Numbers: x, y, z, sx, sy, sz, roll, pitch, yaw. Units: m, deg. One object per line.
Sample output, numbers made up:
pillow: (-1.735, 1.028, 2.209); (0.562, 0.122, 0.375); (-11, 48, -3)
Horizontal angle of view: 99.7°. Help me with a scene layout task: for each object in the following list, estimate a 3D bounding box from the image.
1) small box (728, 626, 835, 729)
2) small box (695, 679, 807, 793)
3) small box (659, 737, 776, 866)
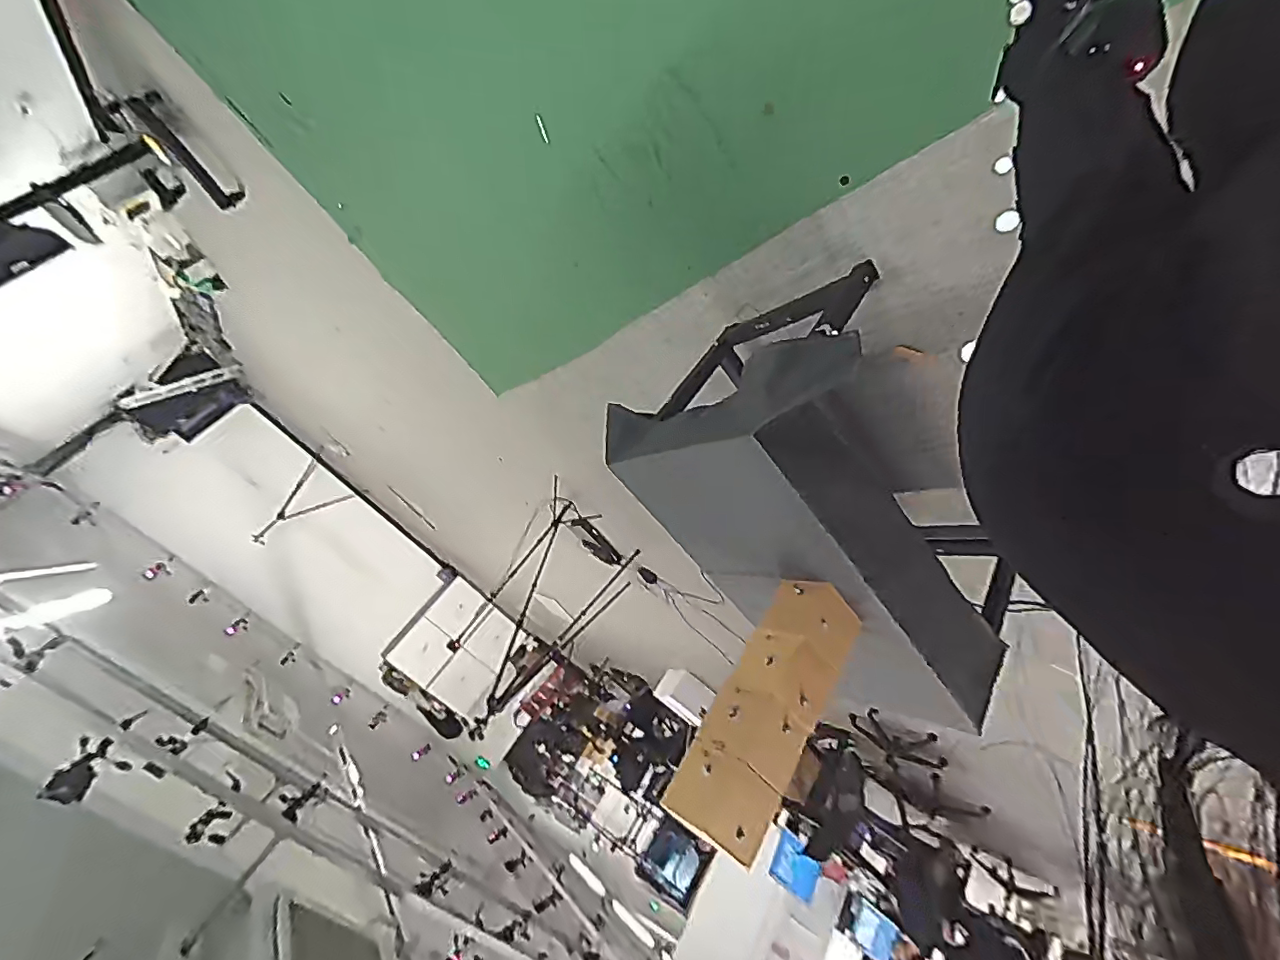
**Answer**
small box: (0.367, 0.501, 1.396); (0.179, 0.176, 0.168); (48, 152, -20)
small box: (0.275, 0.618, 1.329); (0.179, 0.176, 0.168); (50, 151, -21)
small box: (0.186, 0.739, 1.260); (0.179, 0.176, 0.168); (49, 151, -20)
